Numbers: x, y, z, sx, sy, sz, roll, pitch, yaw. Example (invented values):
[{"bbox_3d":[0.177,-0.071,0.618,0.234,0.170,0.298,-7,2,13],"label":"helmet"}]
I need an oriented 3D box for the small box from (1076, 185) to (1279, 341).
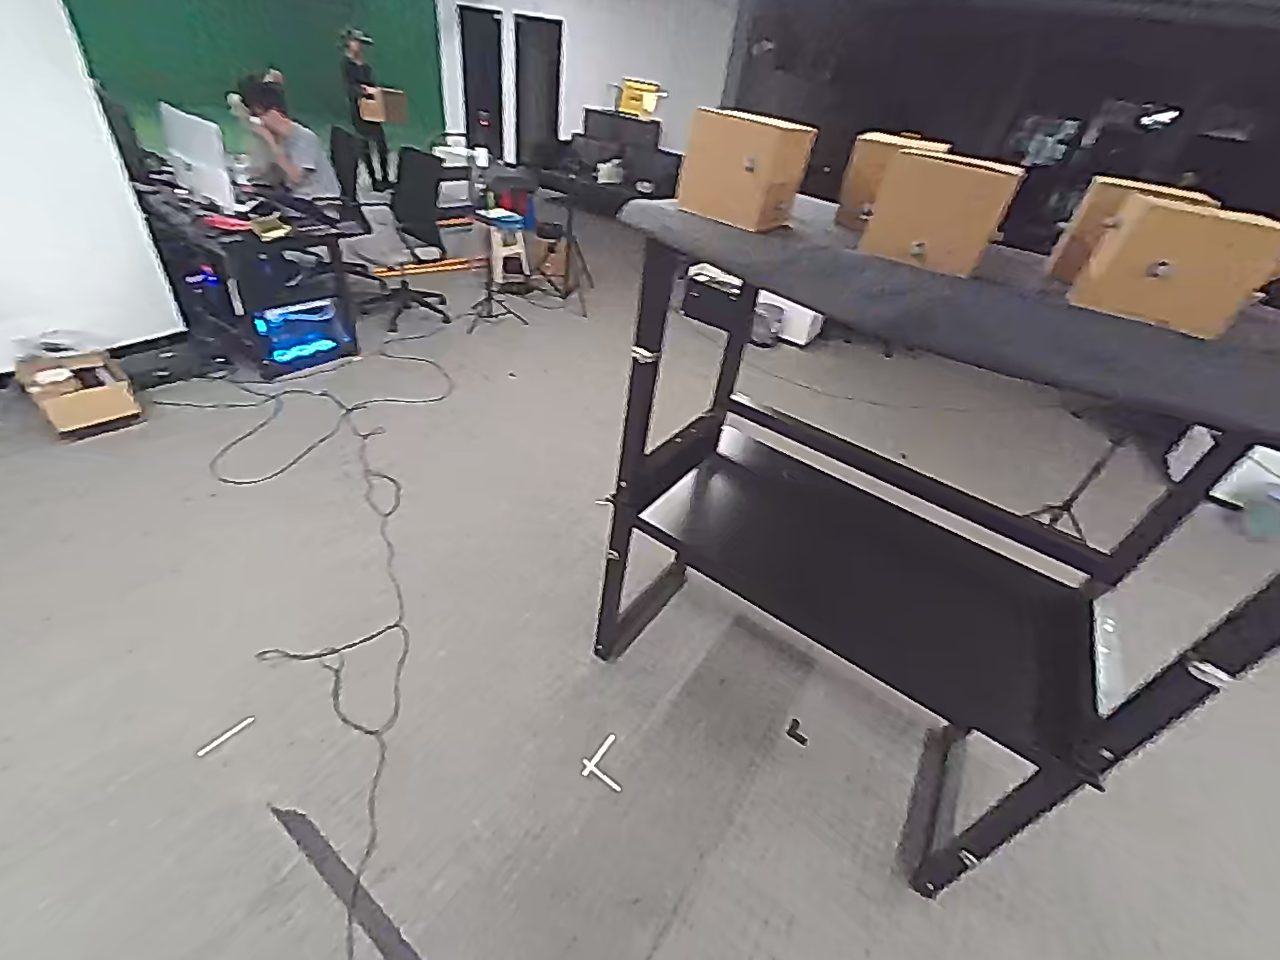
[{"bbox_3d":[0.779,-0.319,0.792,0.168,0.176,0.179,26,39,22],"label":"small box"}]

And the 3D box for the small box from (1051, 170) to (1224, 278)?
[{"bbox_3d":[0.907,-0.464,1.006,0.179,0.176,0.168,28,42,23],"label":"small box"}]

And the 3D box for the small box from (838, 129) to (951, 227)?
[{"bbox_3d":[0.543,-0.641,1.162,0.168,0.176,0.179,23,39,19],"label":"small box"}]

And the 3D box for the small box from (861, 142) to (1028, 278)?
[{"bbox_3d":[0.499,-0.446,0.896,0.179,0.176,0.168,28,40,22],"label":"small box"}]
